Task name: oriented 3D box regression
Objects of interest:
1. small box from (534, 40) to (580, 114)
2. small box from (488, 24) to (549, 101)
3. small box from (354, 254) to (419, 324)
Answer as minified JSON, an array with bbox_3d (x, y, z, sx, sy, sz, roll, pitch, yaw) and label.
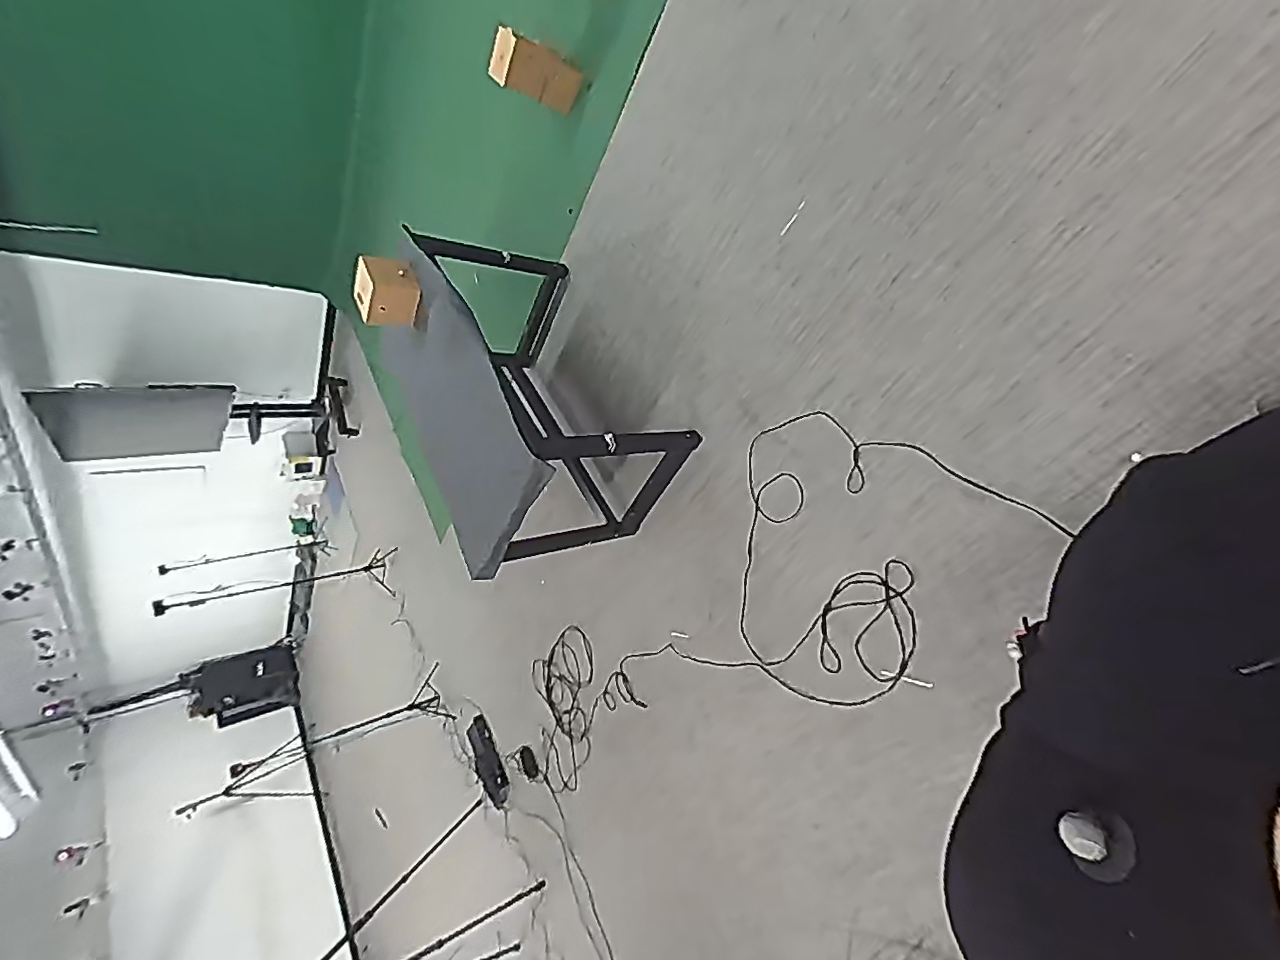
[{"bbox_3d":[-0.381,-1.733,2.331,0.179,0.176,0.168,-49,60,40],"label":"small box"},{"bbox_3d":[-0.495,-1.709,2.218,0.168,0.176,0.179,55,131,28],"label":"small box"},{"bbox_3d":[-0.927,-0.690,1.977,0.179,0.176,0.168,-51,60,40],"label":"small box"}]
